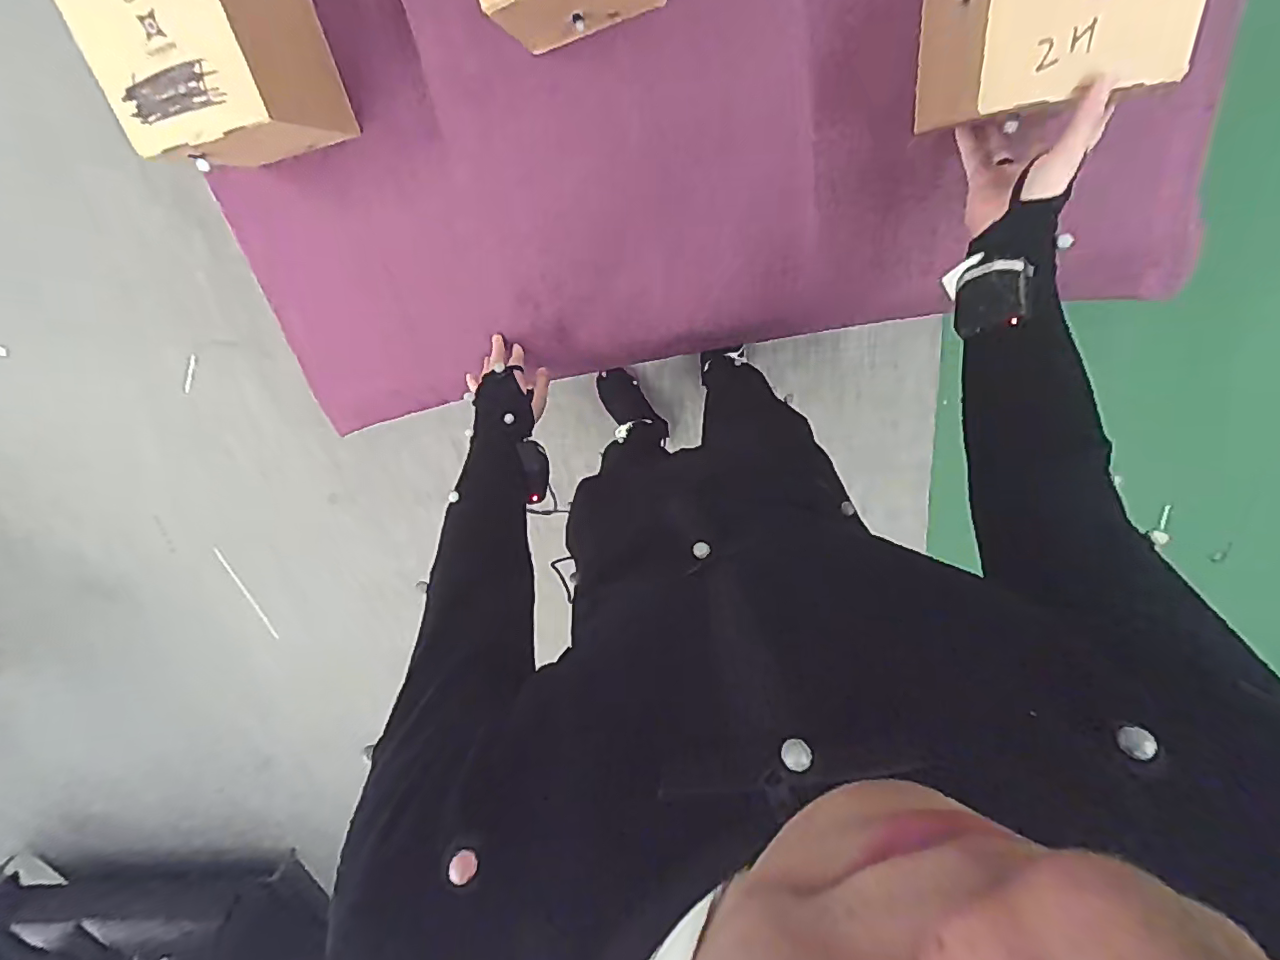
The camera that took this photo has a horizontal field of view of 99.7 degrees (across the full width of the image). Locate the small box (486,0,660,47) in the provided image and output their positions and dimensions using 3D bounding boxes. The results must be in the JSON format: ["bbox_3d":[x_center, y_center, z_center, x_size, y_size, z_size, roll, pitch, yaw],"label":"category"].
[{"bbox_3d":[-0.075,-0.549,0.502,0.168,0.176,0.179,-12,117,12],"label":"small box"}]
